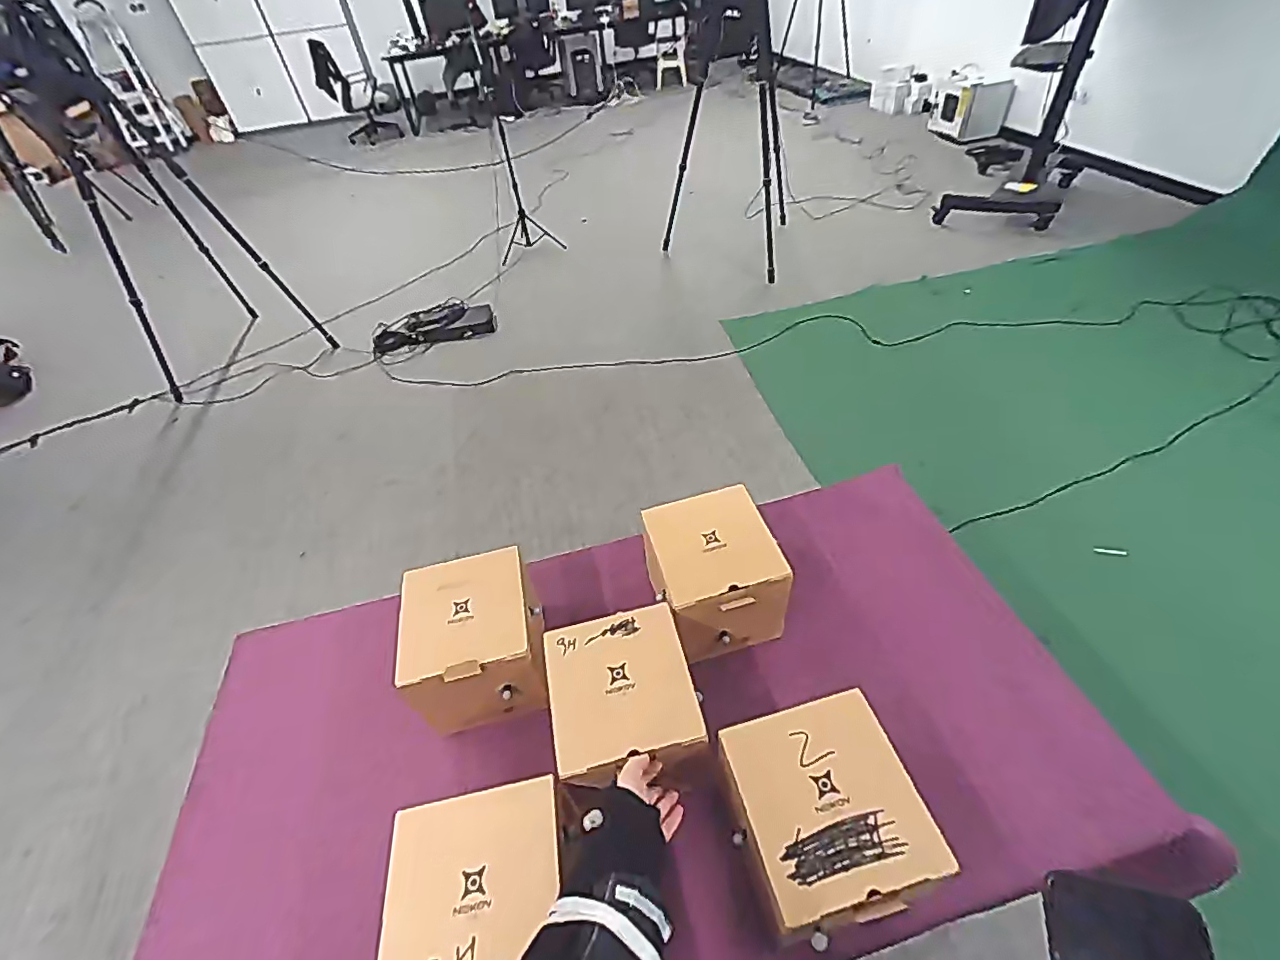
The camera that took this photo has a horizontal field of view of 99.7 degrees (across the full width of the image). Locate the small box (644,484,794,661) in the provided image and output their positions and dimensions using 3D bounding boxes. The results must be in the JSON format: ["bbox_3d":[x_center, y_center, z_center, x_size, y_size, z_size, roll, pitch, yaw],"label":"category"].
[{"bbox_3d":[0.110,0.140,0.815,0.168,0.176,0.179,-16,47,-6],"label":"small box"}]

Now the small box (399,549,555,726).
[{"bbox_3d":[-0.225,0.232,0.777,0.168,0.176,0.179,-13,46,-6],"label":"small box"}]

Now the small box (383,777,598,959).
[{"bbox_3d":[-0.143,0.441,0.558,0.168,0.176,0.179,-12,45,-2],"label":"small box"}]
